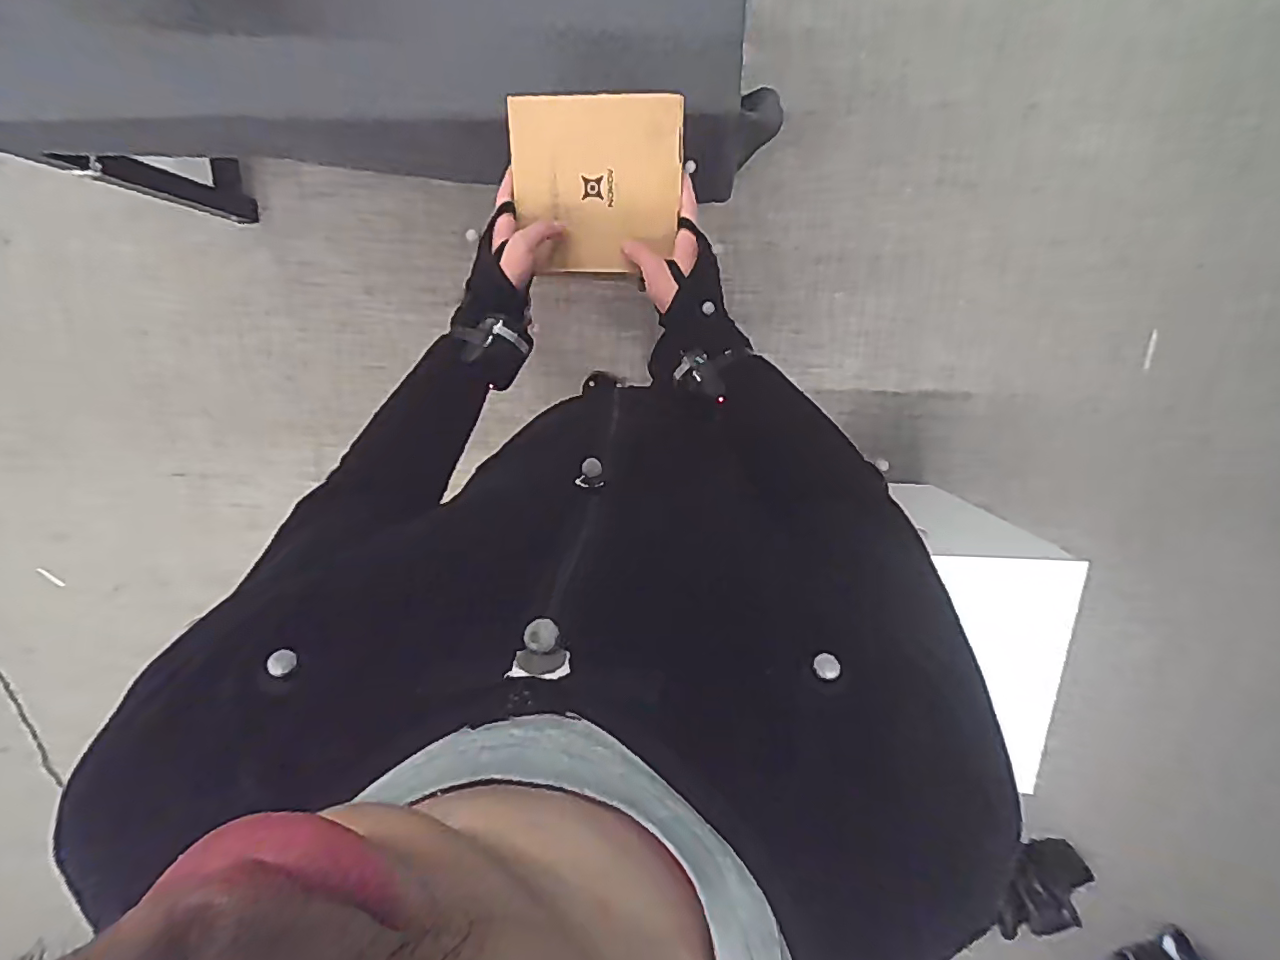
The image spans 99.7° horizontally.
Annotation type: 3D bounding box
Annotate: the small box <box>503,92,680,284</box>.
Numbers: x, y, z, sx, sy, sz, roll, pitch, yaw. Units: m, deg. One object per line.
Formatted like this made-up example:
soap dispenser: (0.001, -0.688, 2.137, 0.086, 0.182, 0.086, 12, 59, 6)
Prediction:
small box: (-0.043, -0.320, 0.624, 0.179, 0.176, 0.168, 1, 106, 5)
